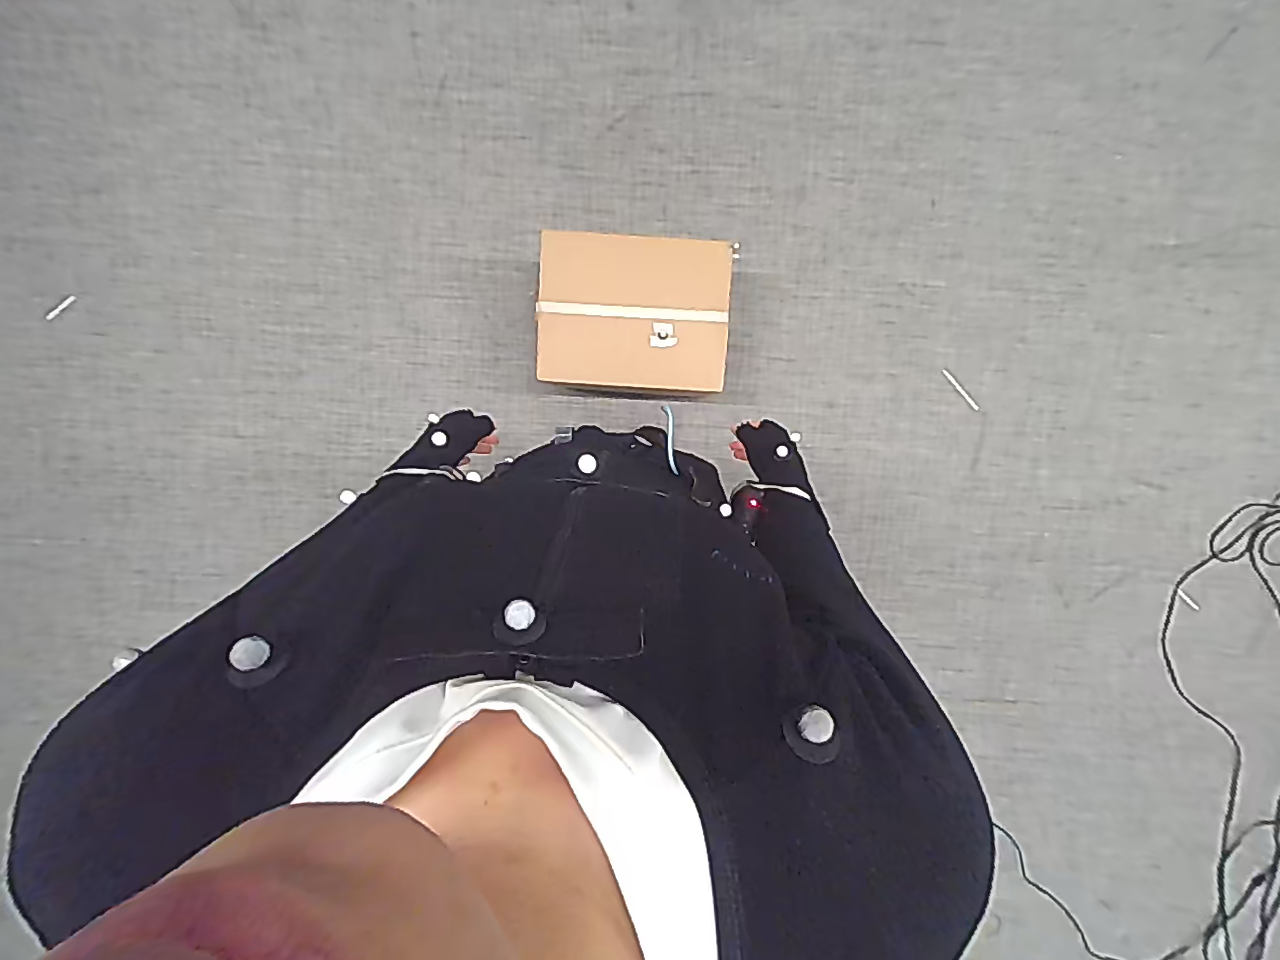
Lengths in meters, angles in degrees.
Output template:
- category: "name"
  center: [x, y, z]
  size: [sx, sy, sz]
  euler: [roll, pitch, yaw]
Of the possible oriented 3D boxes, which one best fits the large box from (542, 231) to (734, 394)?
- category: "large box"
  center: [-0.009, -0.375, 1.291]
  size: [0.408, 0.320, 0.320]
  euler: [4, 97, 0]
